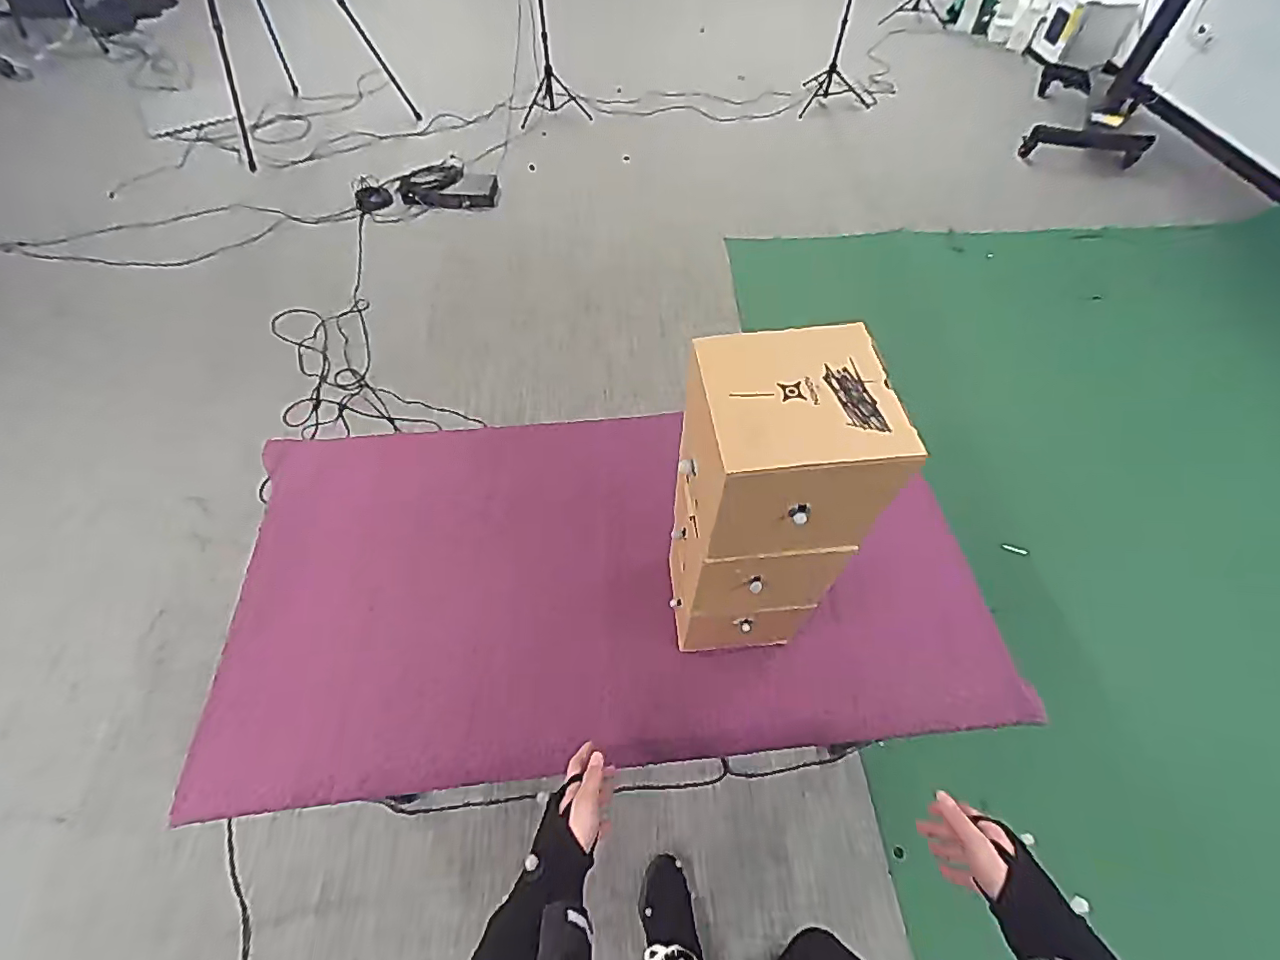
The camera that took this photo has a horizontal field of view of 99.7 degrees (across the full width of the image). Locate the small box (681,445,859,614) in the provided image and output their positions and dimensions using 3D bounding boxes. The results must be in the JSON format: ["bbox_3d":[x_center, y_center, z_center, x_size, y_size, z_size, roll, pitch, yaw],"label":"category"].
[{"bbox_3d":[0.147,0.062,0.687,0.179,0.176,0.168,-5,58,-2],"label":"small box"}]

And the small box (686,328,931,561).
[{"bbox_3d":[0.149,-0.030,0.550,0.179,0.176,0.168,-5,57,-3],"label":"small box"}]

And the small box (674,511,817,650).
[{"bbox_3d":[0.145,0.154,0.822,0.179,0.176,0.168,-2,57,-2],"label":"small box"}]
